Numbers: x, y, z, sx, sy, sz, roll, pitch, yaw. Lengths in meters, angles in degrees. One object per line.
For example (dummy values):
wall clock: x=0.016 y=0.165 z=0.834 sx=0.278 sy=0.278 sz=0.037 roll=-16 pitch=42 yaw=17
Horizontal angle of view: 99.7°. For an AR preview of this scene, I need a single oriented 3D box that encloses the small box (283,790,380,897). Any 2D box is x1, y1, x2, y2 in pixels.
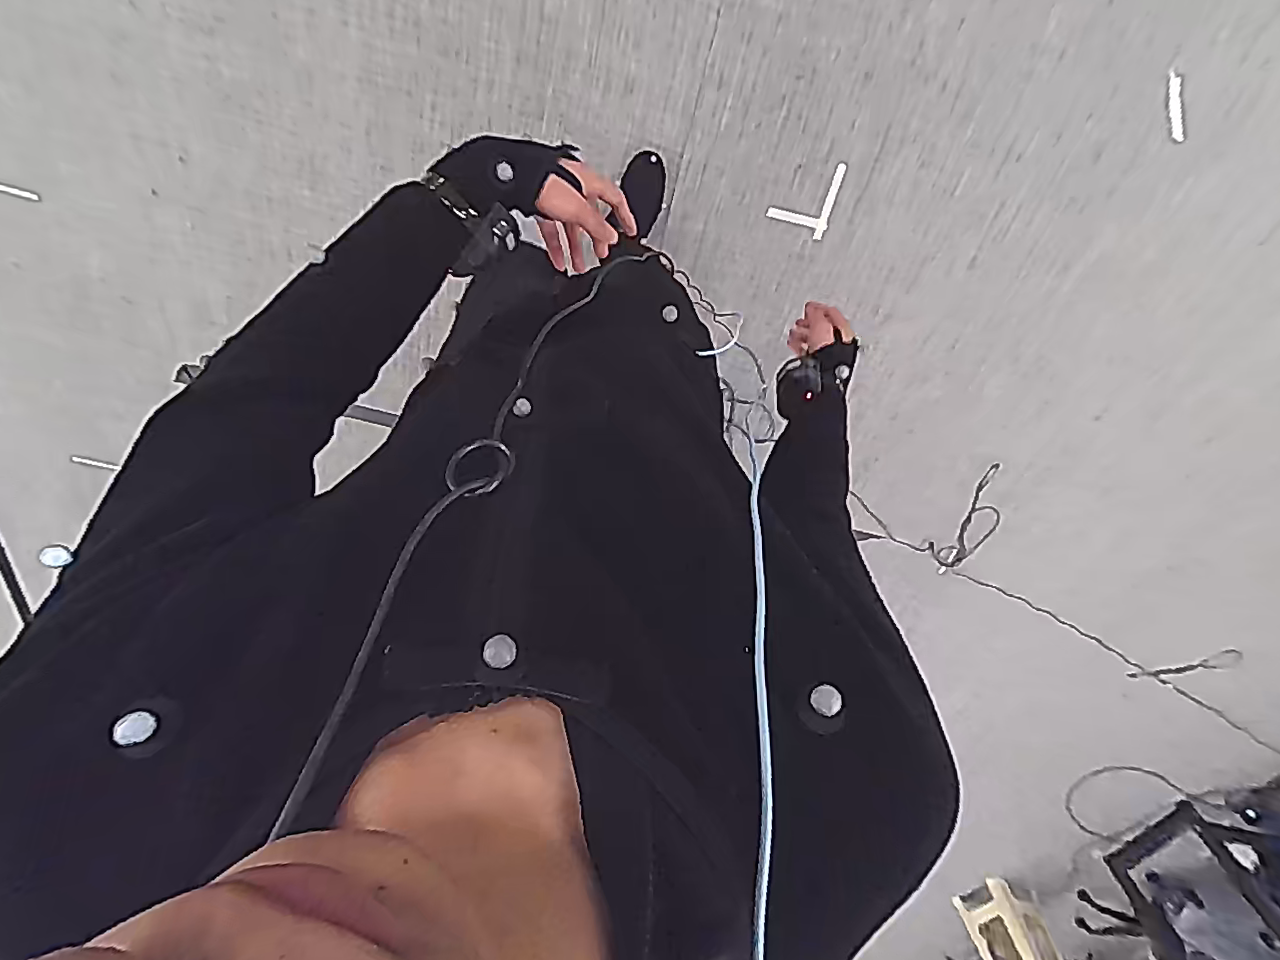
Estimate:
small box: x=-0.792 y=0.938 z=1.401 sx=0.168 sy=0.176 sz=0.179 roll=14 pitch=120 yaw=-7
